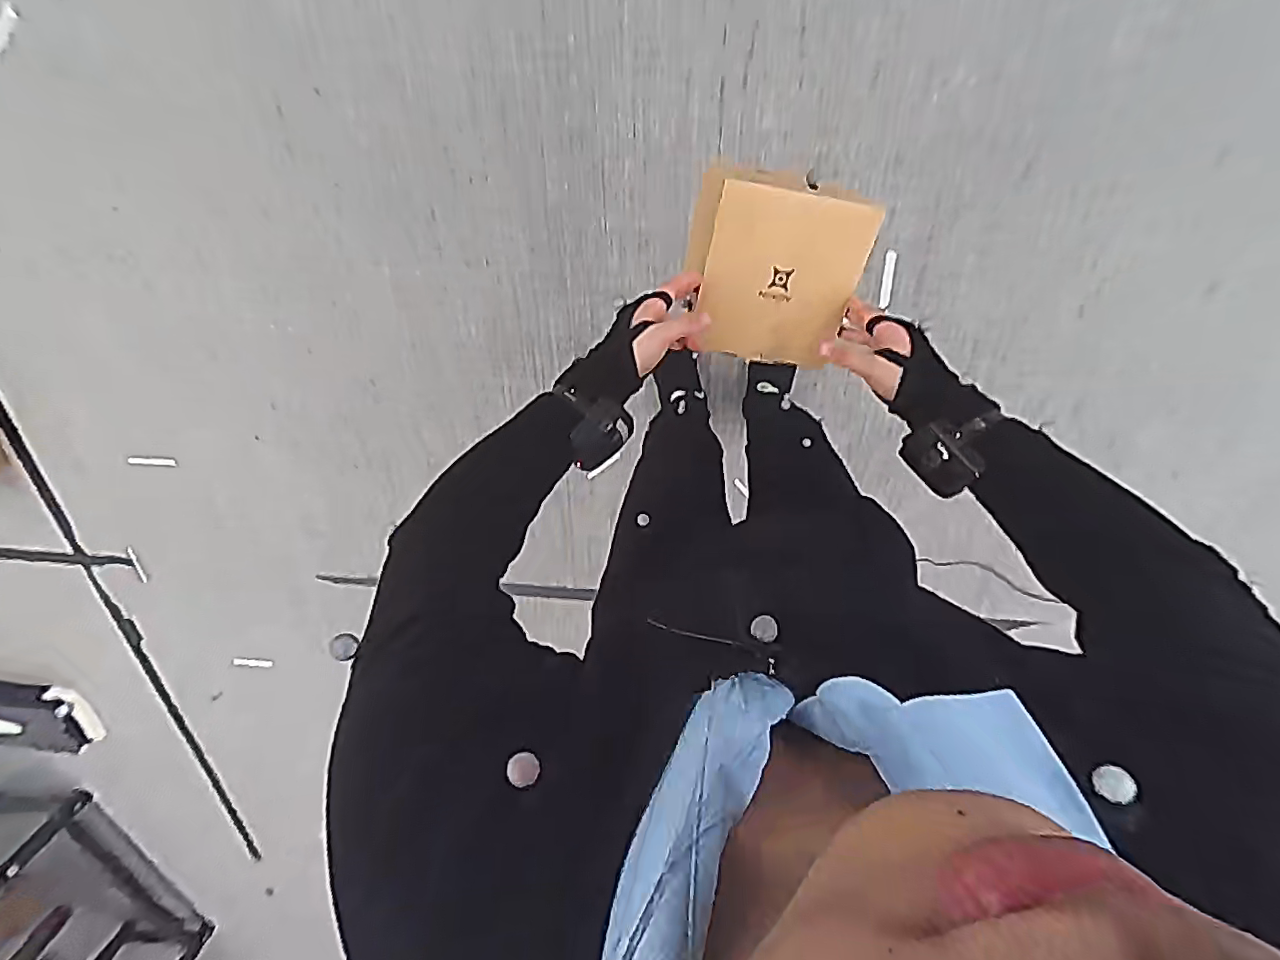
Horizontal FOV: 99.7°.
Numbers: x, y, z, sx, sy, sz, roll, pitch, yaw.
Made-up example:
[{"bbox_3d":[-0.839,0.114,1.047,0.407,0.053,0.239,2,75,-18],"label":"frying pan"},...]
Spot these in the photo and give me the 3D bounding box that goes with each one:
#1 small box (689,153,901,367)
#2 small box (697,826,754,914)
[{"bbox_3d":[0.155,-0.255,0.617,0.168,0.176,0.179,8,127,-6],"label":"small box"},{"bbox_3d":[0.277,1.288,1.790,0.168,0.176,0.179,4,116,3],"label":"small box"}]
